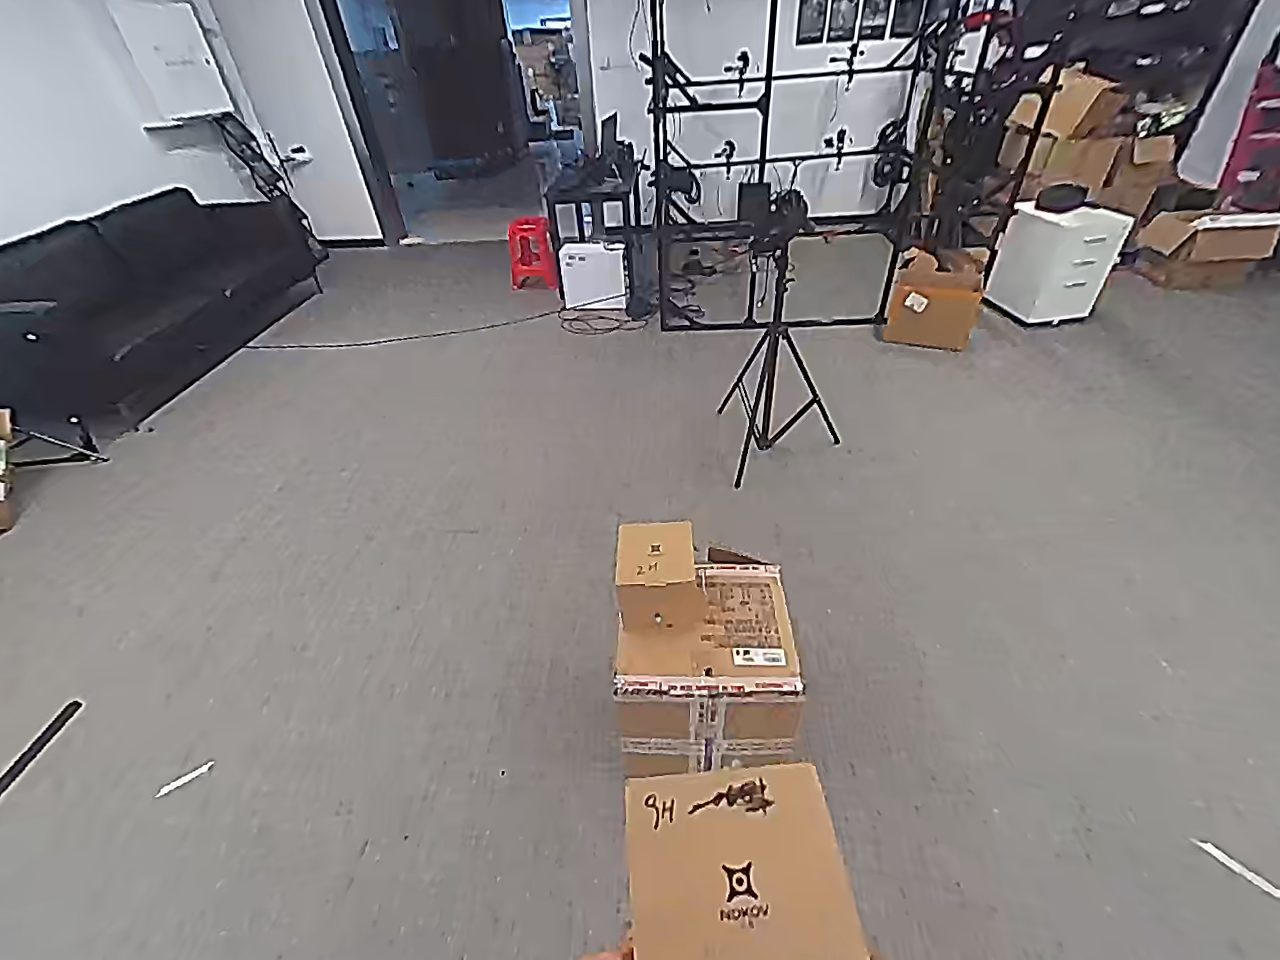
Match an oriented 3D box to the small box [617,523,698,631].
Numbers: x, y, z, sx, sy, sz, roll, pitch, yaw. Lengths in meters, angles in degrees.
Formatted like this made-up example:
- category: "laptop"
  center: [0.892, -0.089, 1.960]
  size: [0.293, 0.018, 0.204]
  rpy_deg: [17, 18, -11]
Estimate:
- category: "small box"
  center: [0.043, 0.218, 1.216]
  size: [0.168, 0.176, 0.179]
  rpy_deg: [-4, 41, 5]
